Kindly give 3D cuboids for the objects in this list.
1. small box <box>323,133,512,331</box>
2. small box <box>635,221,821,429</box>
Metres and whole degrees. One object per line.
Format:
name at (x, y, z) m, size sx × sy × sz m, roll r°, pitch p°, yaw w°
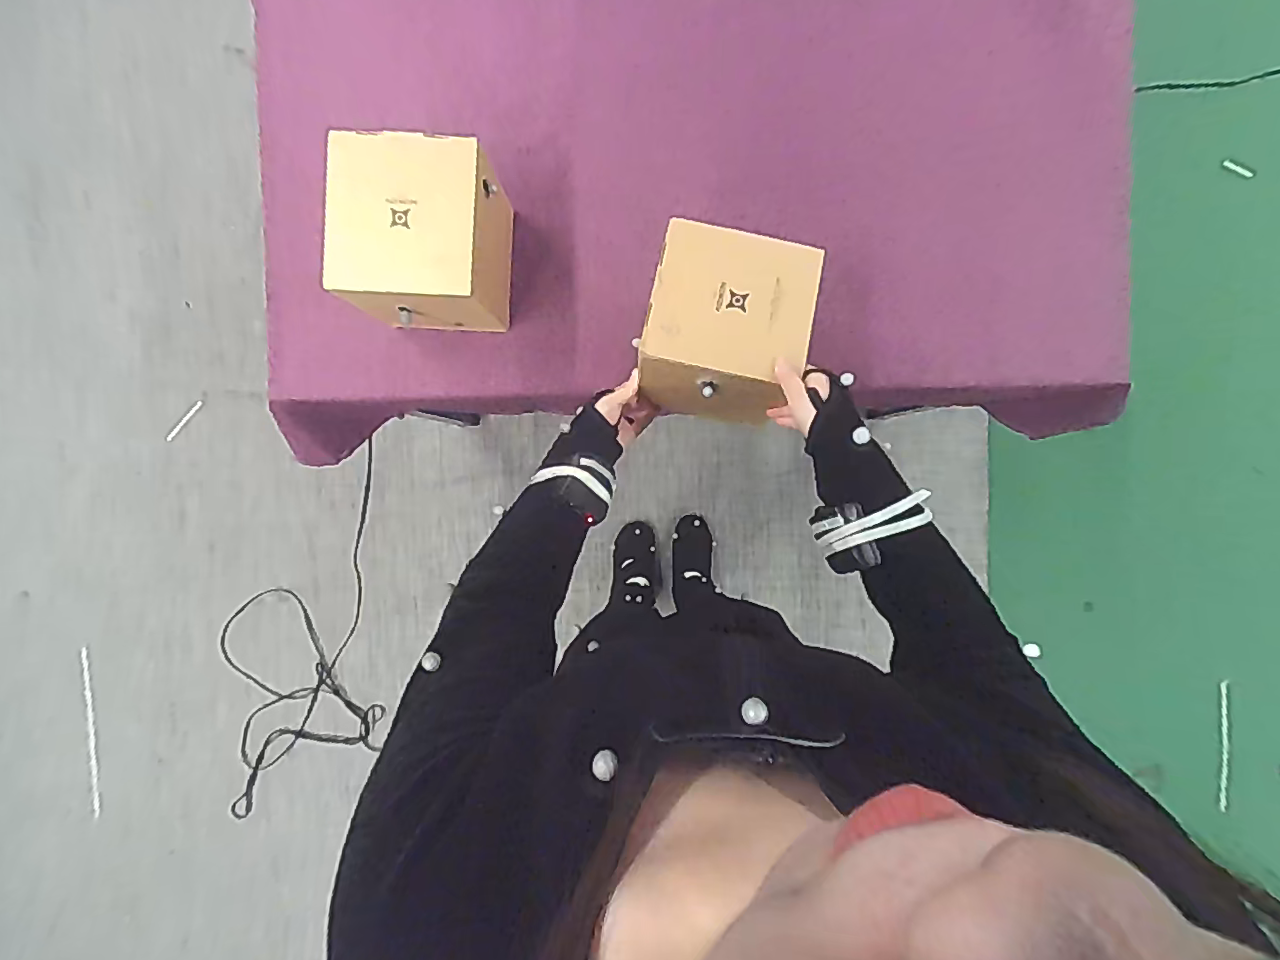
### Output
small box at (-0.263, -0.292, 0.675) m, size 0.168 × 0.176 × 0.179 m, roll 3°, pitch 90°, yaw 1°
small box at (0.095, -0.174, 0.656) m, size 0.179 × 0.176 × 0.168 m, roll 13°, pitch 79°, yaw 1°
